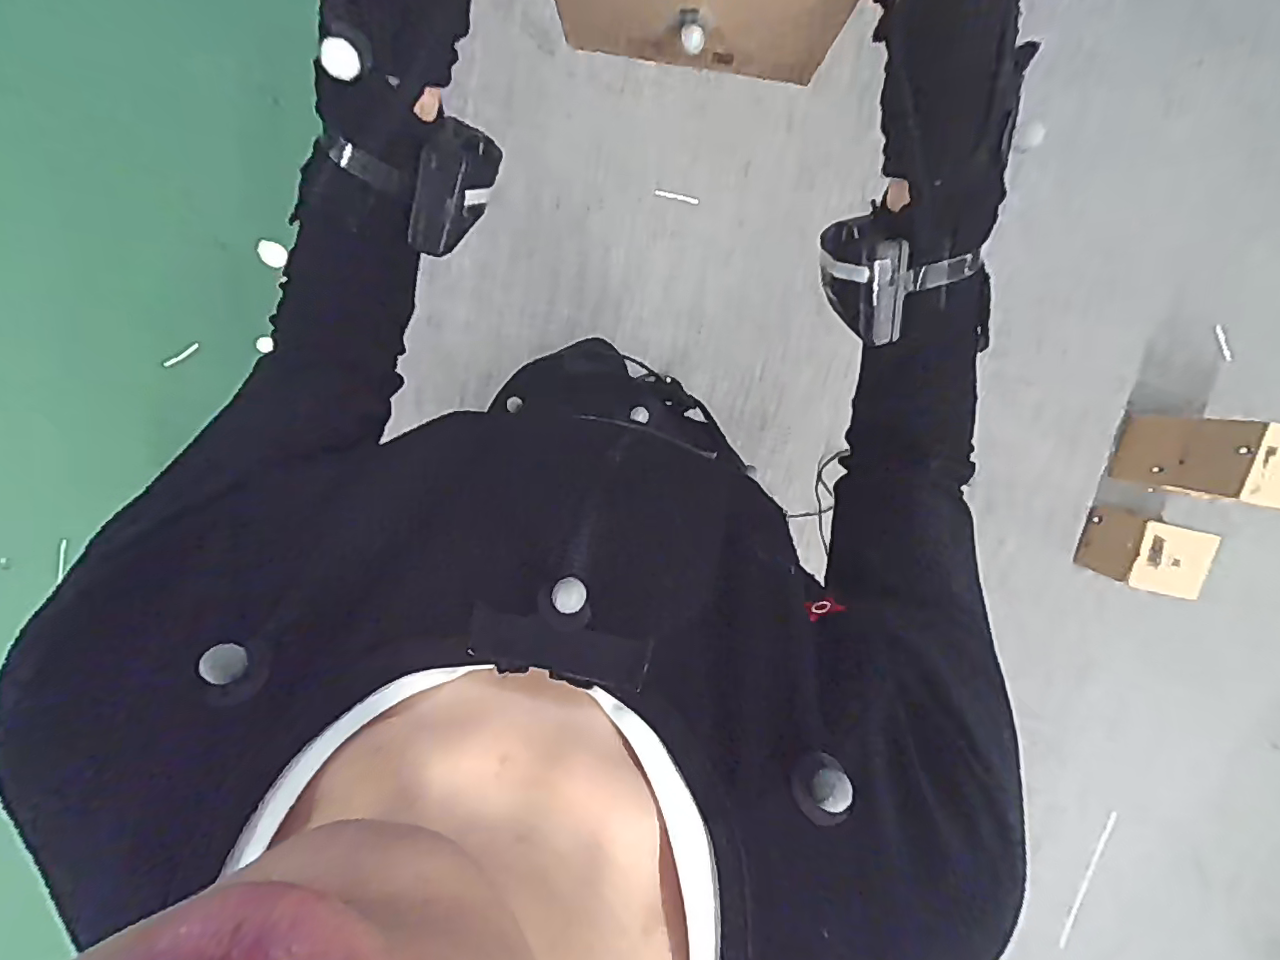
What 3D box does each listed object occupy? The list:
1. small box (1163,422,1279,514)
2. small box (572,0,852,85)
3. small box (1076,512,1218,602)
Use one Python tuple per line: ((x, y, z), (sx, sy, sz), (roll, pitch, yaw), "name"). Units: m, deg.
((1.311, -0.028, 1.164), (0.179, 0.176, 0.168), (13, 99, 0), "small box")
((0.045, -0.345, 0.268), (0.168, 0.176, 0.179), (9, 103, -1), "small box")
((1.262, 0.185, 1.363), (0.179, 0.176, 0.168), (12, 99, 0), "small box")
